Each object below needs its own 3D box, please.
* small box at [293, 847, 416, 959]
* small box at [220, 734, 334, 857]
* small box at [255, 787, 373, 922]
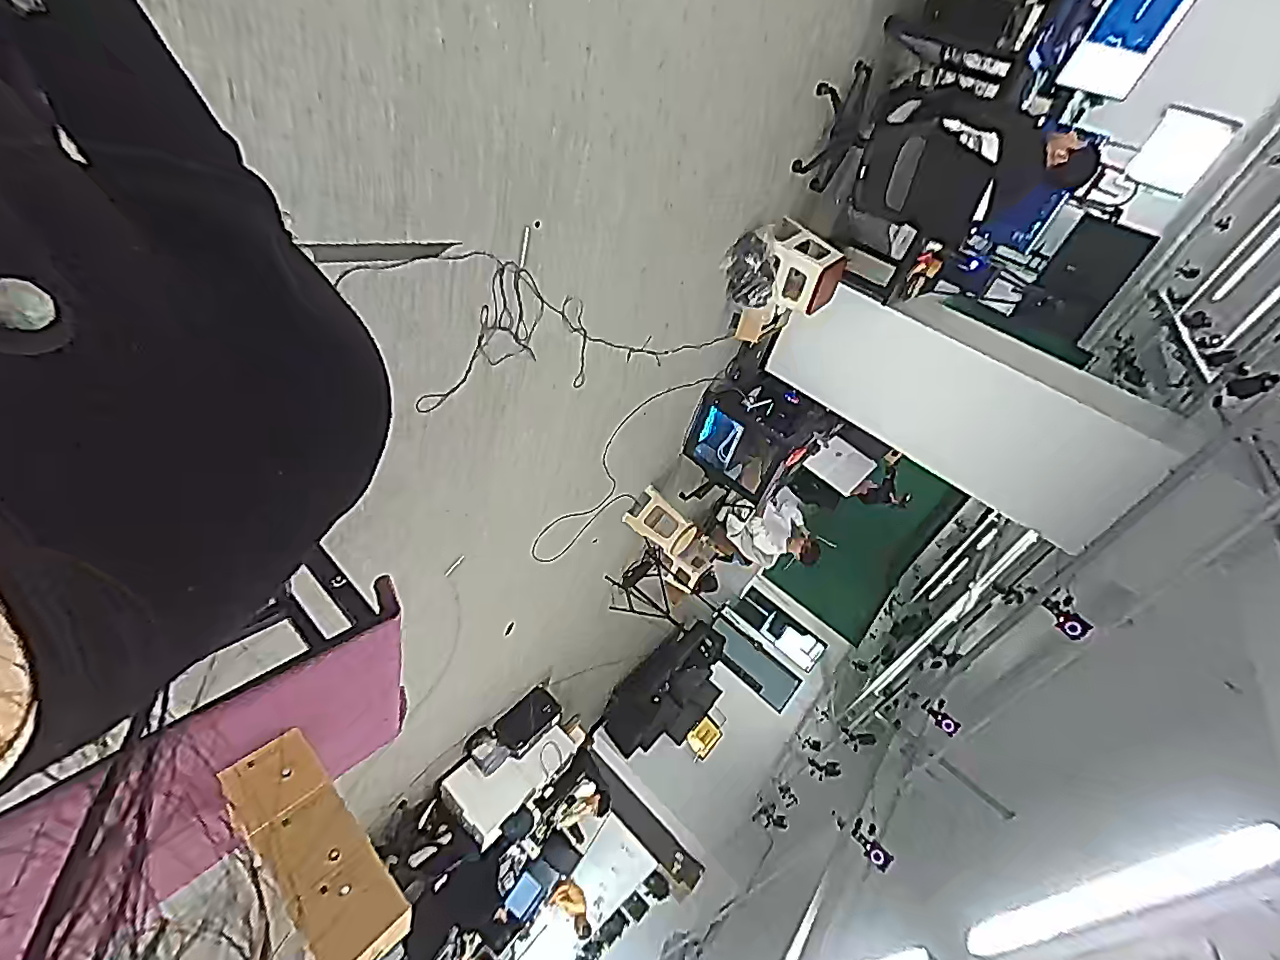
[{"bbox_3d":[-0.592,0.914,1.123,0.168,0.176,0.179,-28,147,-46],"label":"small box"},{"bbox_3d":[-0.831,0.724,1.246,0.168,0.176,0.179,-28,148,-46],"label":"small box"},{"bbox_3d":[-0.711,0.821,1.189,0.168,0.176,0.179,-29,149,-46],"label":"small box"}]
